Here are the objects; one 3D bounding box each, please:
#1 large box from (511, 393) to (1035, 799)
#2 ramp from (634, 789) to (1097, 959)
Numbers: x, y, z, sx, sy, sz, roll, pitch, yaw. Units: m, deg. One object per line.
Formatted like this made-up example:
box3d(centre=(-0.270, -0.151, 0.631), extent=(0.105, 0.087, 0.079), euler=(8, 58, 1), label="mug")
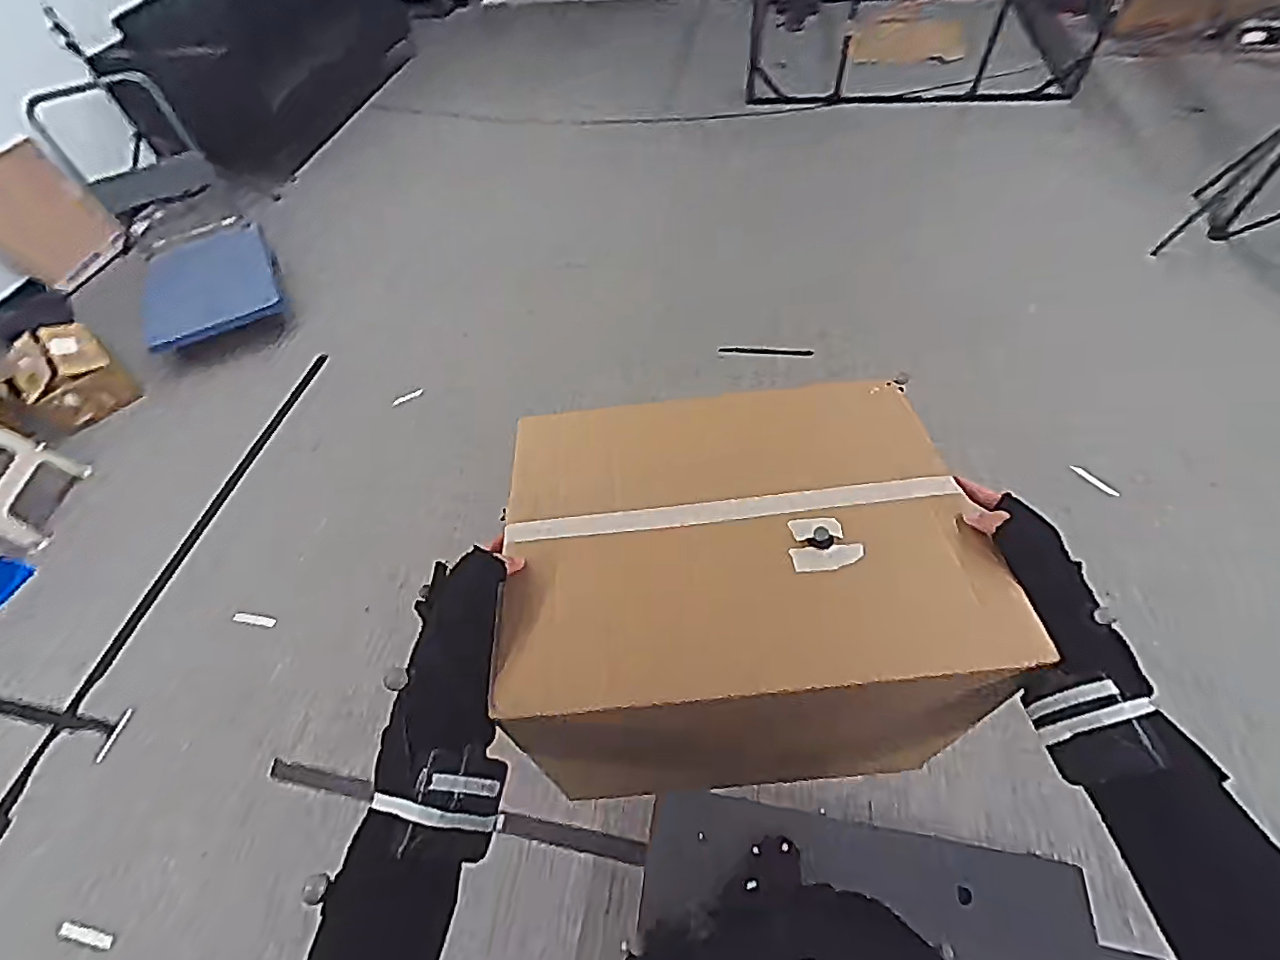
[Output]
box3d(centre=(0.097, 0.136, 0.609), extent=(0.408, 0.320, 0.320), euler=(-6, 50, 1), label="large box")
box3d(centre=(0.488, 1.000, 1.134), extent=(0.991, 0.206, 0.509), euler=(3, 54, 8), label="ramp")
